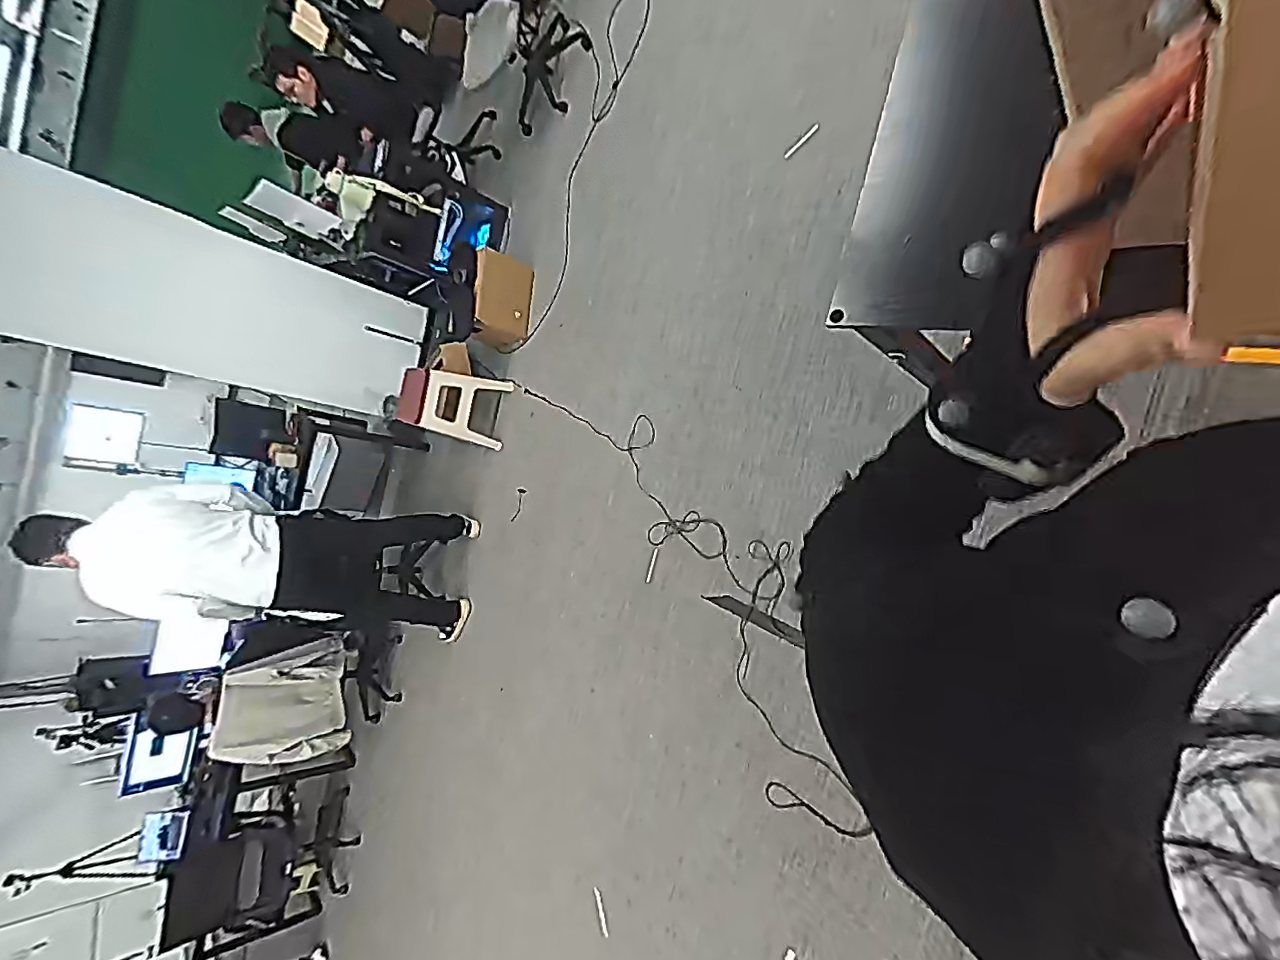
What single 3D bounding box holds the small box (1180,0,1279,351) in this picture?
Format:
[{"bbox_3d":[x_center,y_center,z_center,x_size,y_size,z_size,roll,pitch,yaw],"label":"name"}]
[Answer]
[{"bbox_3d":[0.236,-0.157,0.113,0.168,0.179,0.176,3,56,43],"label":"small box"}]
